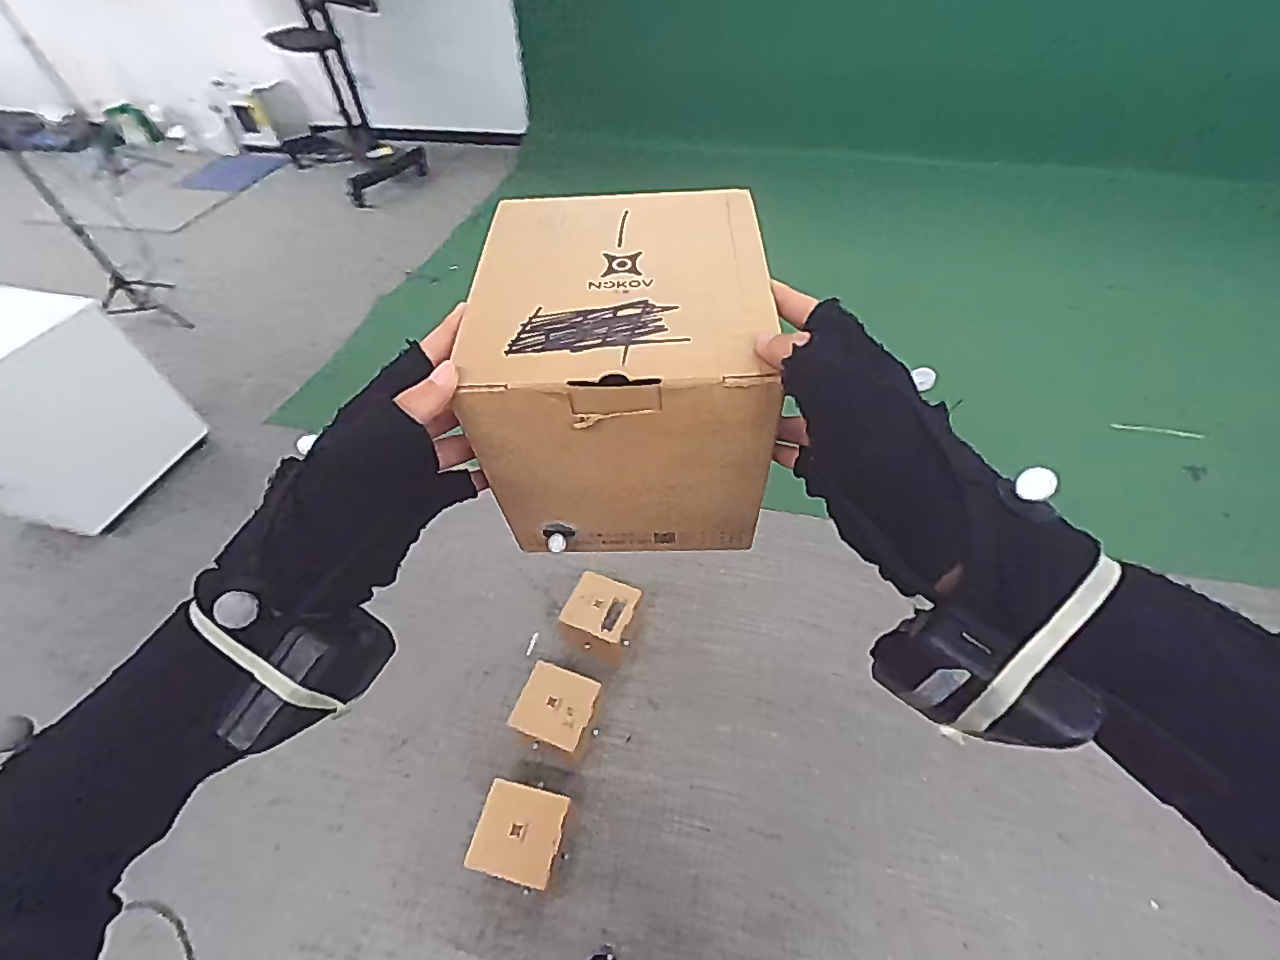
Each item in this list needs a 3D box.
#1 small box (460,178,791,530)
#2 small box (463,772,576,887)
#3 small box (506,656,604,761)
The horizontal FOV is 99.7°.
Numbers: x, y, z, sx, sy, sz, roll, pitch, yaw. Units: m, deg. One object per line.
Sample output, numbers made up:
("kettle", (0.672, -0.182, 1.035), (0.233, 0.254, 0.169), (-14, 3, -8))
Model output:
("small box", (-0.001, -0.077, 0.371), (0.168, 0.176, 0.179), (0, 54, 3))
("small box", (-0.251, 0.763, 1.176), (0.179, 0.176, 0.168), (10, 51, 9))
("small box", (-0.202, 0.569, 1.336), (0.179, 0.176, 0.168), (16, 53, 13))
